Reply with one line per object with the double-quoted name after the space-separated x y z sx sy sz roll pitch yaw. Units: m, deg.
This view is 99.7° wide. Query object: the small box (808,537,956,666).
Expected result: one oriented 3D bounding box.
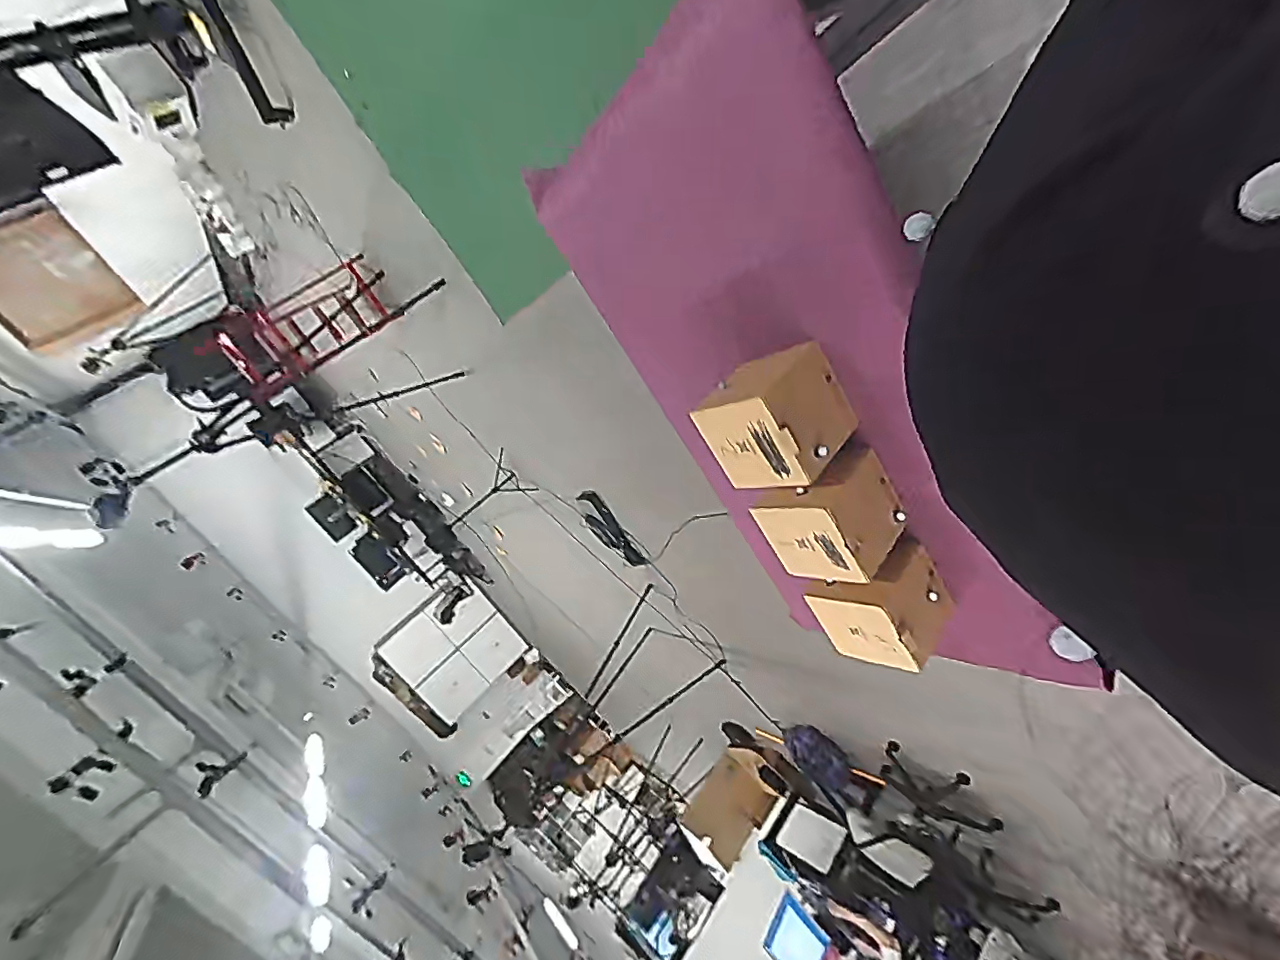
0.468 0.223 1.045 0.168 0.176 0.179 55 151 -17 "small box"
